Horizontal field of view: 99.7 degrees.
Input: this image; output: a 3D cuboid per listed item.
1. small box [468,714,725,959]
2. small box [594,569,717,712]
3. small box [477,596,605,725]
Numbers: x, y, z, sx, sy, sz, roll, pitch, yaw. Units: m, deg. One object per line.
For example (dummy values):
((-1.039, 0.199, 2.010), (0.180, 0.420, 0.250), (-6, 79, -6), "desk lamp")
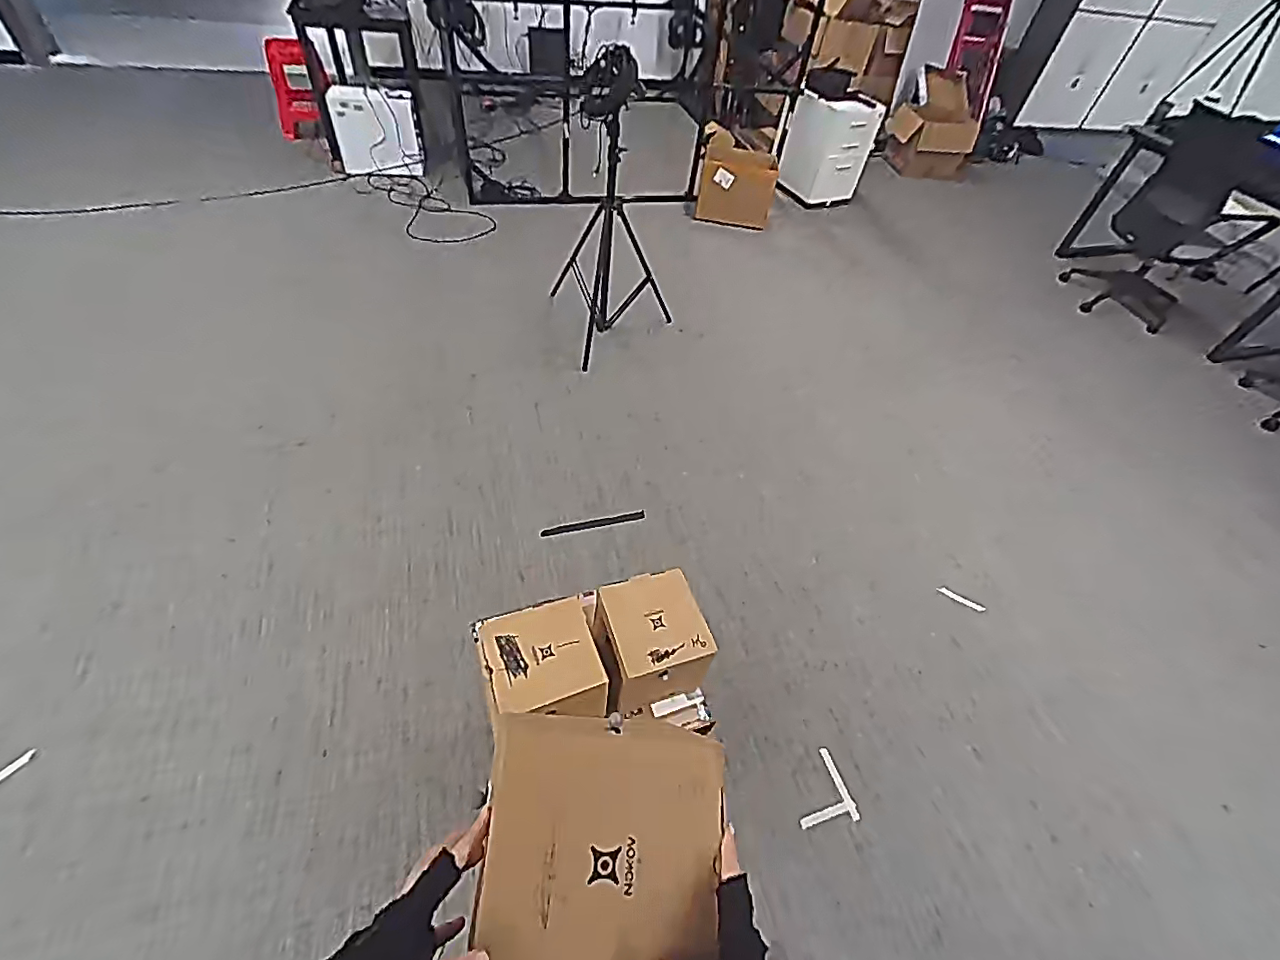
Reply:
((-0.042, 0.294, 0.457), (0.179, 0.176, 0.168), (8, 68, -13), "small box")
((0.017, 0.295, 0.997), (0.168, 0.176, 0.179), (-10, 50, -18), "small box")
((-0.167, 0.334, 0.935), (0.179, 0.176, 0.168), (-14, 52, -18), "small box")
